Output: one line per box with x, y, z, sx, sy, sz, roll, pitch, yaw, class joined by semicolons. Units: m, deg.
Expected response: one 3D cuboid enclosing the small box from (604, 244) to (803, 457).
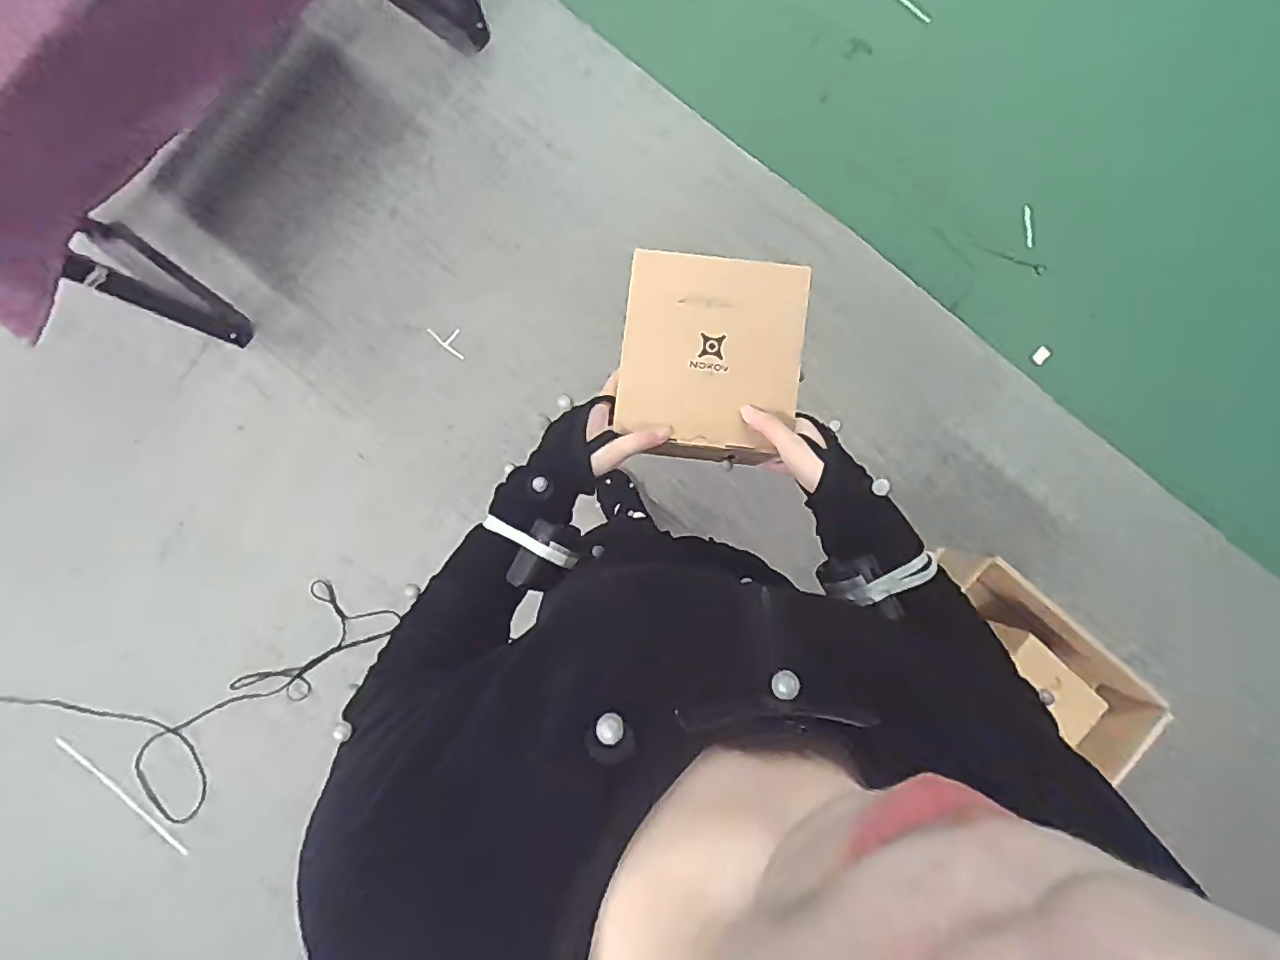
0.061;-0.121;0.574;0.168;0.176;0.179;7;88;2;small box
